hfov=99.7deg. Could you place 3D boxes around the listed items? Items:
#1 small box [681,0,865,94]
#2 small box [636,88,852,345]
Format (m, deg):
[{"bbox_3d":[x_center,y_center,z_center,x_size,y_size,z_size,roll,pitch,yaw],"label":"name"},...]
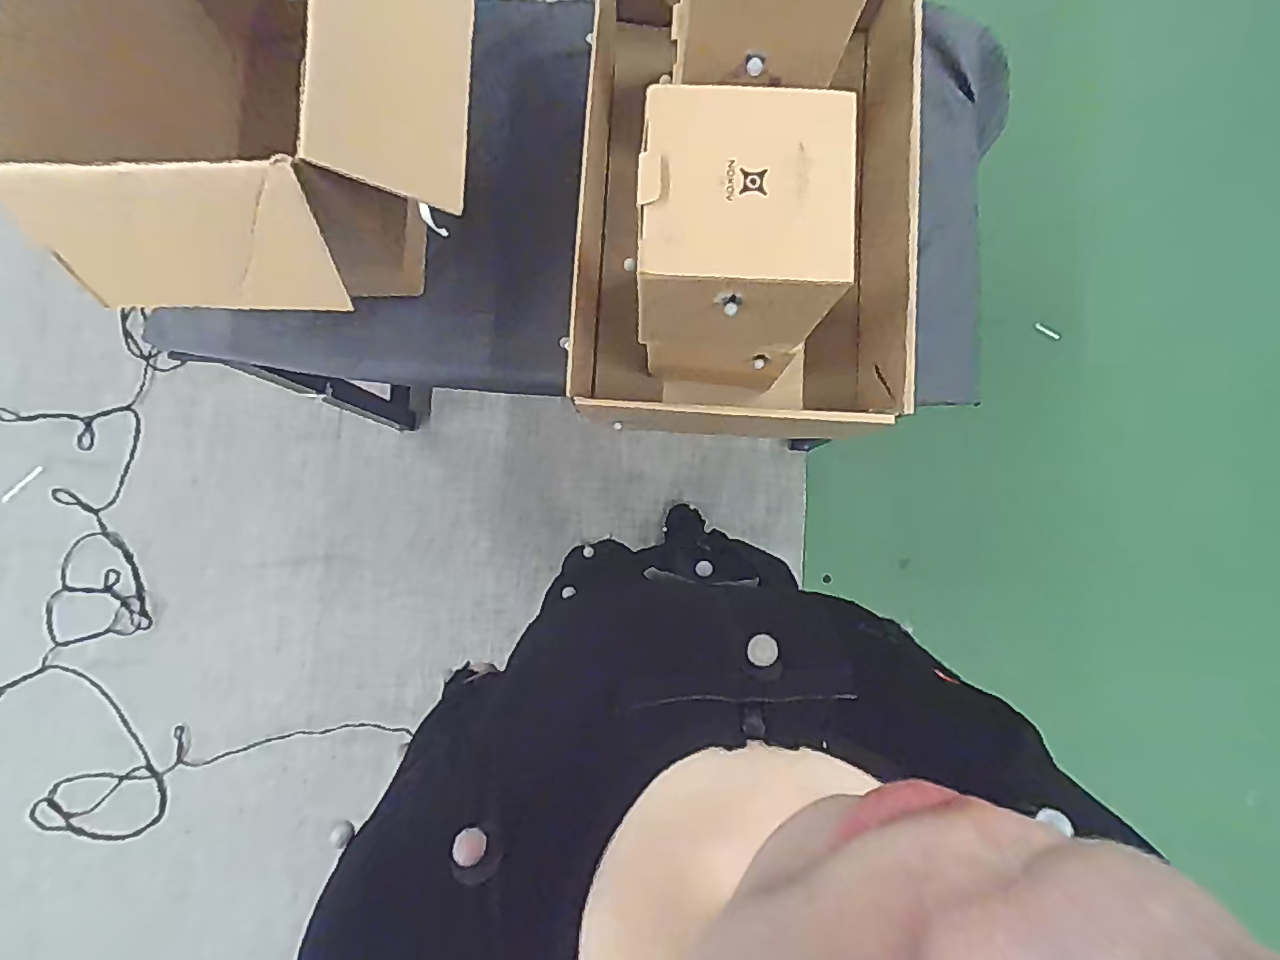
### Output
[{"bbox_3d":[0.131,-0.529,0.542,0.168,0.176,0.179,3,87,0],"label":"small box"},{"bbox_3d":[0.088,-0.238,0.526,0.179,0.176,0.168,2,86,0],"label":"small box"}]
